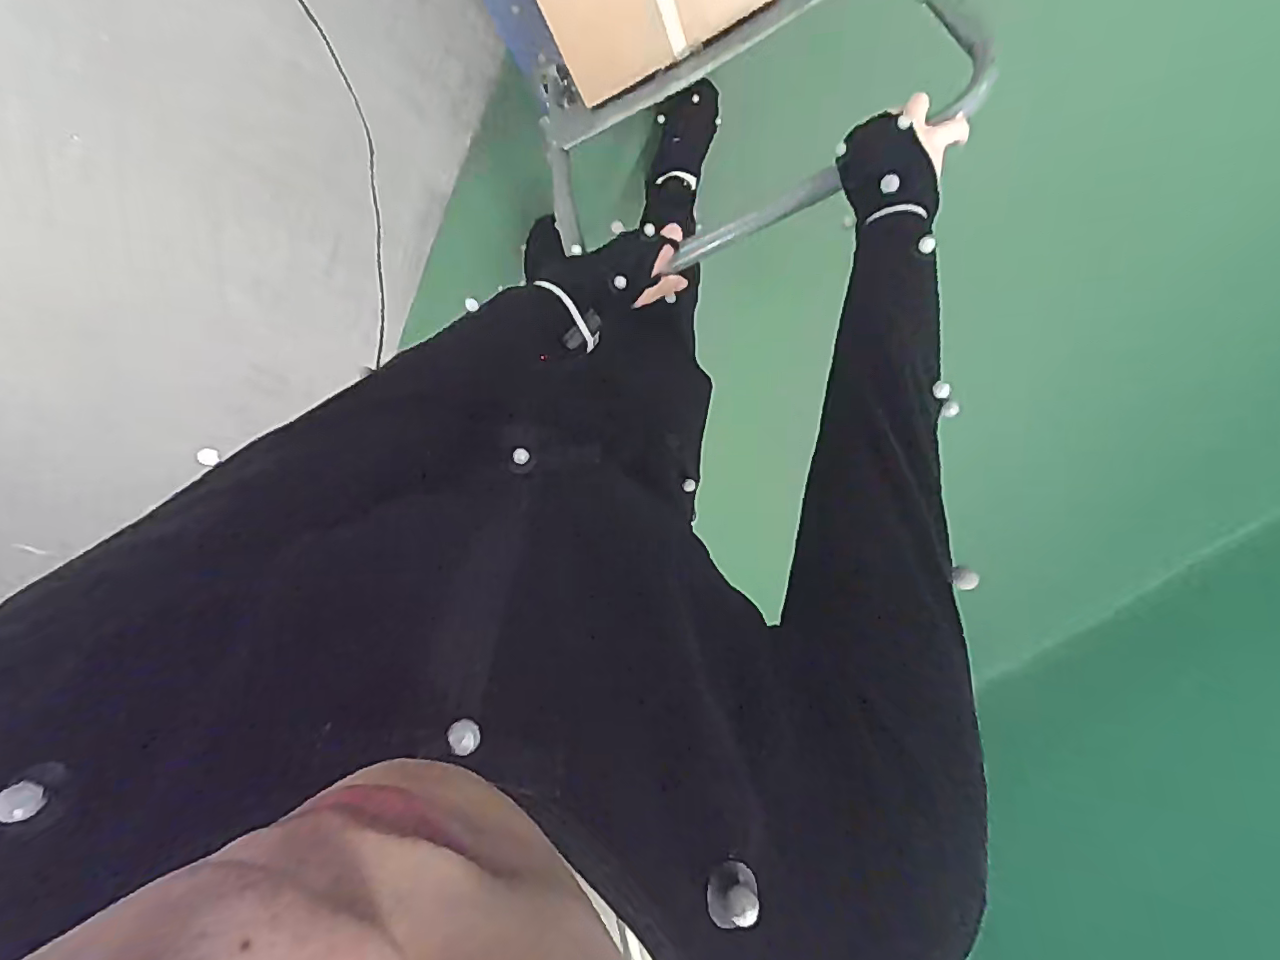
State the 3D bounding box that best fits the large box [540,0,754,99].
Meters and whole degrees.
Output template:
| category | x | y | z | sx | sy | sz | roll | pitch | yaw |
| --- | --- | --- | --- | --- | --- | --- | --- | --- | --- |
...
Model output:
| category | x | y | z | sx | sy | sz | roll | pitch | yaw |
| --- | --- | --- | --- | --- | --- | --- | --- | --- | --- |
| large box | -0.037 | -0.863 | 0.761 | 0.320 | 0.320 | 0.408 | -21 | 136 | 16 |
